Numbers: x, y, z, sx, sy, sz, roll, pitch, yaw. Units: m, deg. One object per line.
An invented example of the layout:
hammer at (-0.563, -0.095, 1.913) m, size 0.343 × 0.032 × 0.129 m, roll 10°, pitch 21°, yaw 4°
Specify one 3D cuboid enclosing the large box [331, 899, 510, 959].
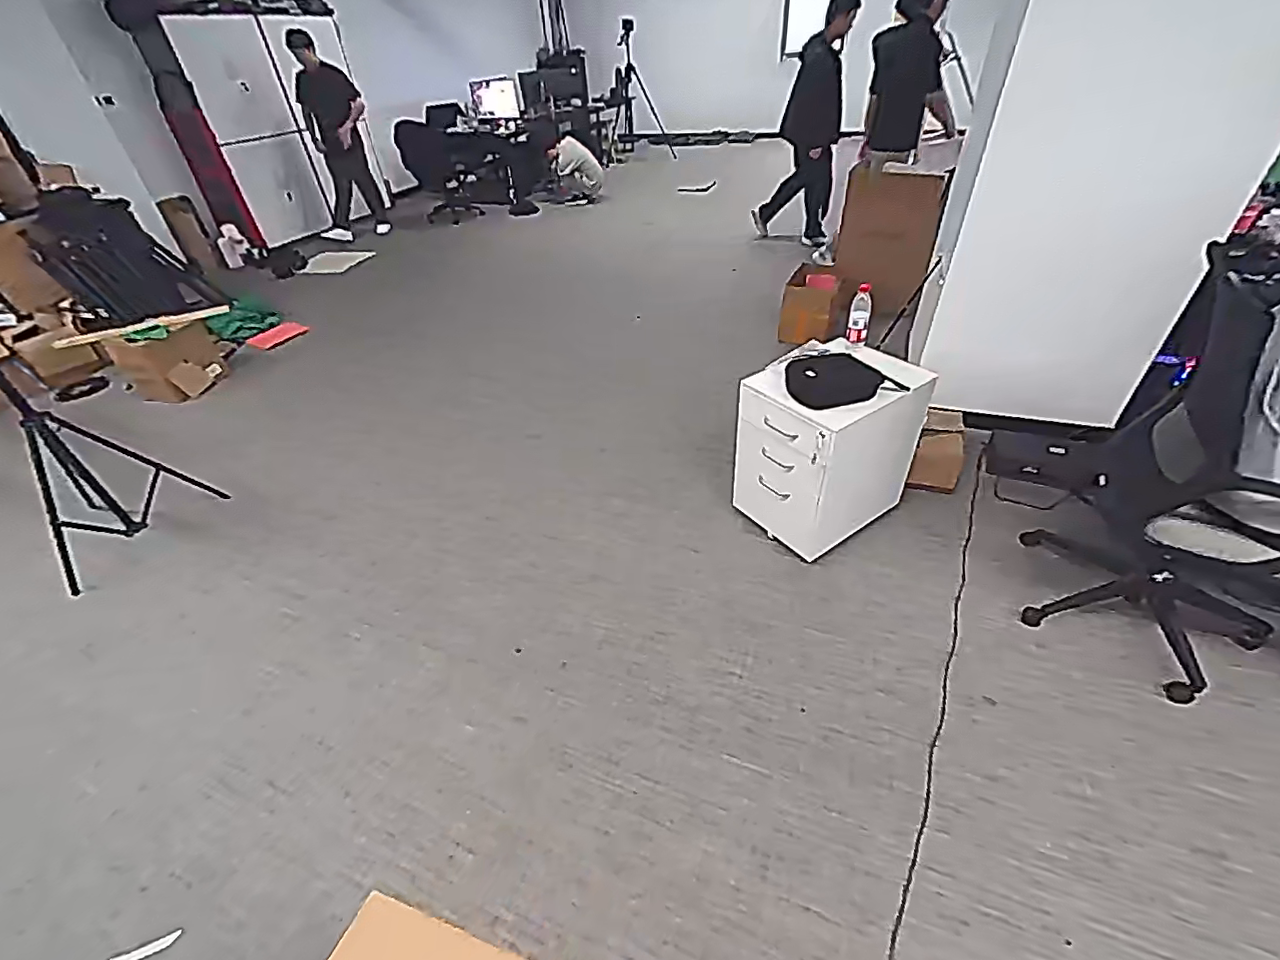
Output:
large box at (-0.230, 0.805, 0.658) m, size 0.320 × 0.408 × 0.320 m, roll -1°, pitch 34°, yaw 27°
